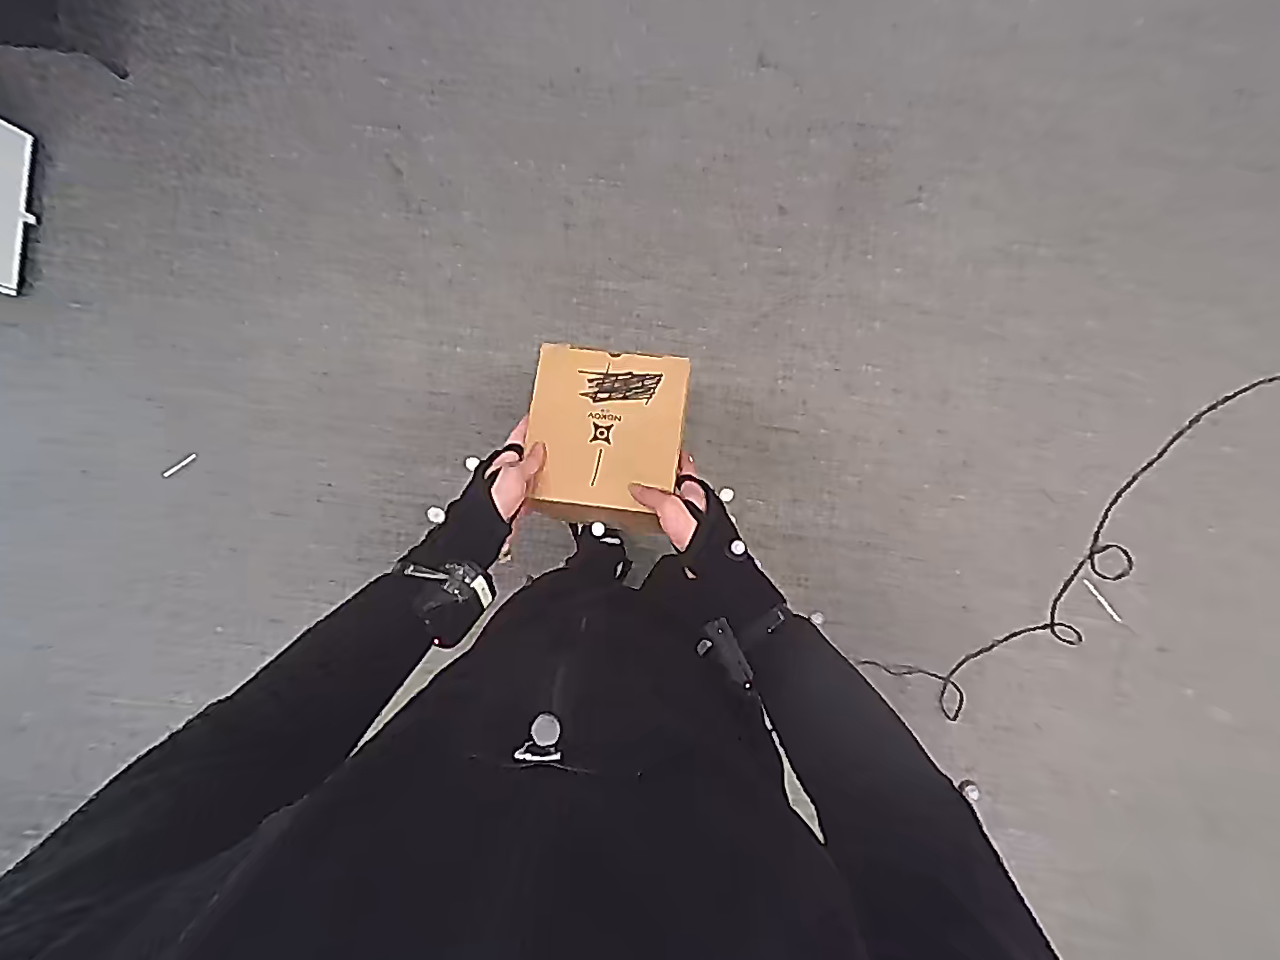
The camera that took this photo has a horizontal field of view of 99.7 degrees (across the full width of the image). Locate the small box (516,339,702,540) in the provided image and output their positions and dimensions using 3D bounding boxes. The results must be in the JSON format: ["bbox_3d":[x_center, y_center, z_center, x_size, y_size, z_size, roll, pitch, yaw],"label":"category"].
[{"bbox_3d":[-0.028,-0.038,0.640,0.168,0.176,0.179,11,78,6],"label":"small box"}]
